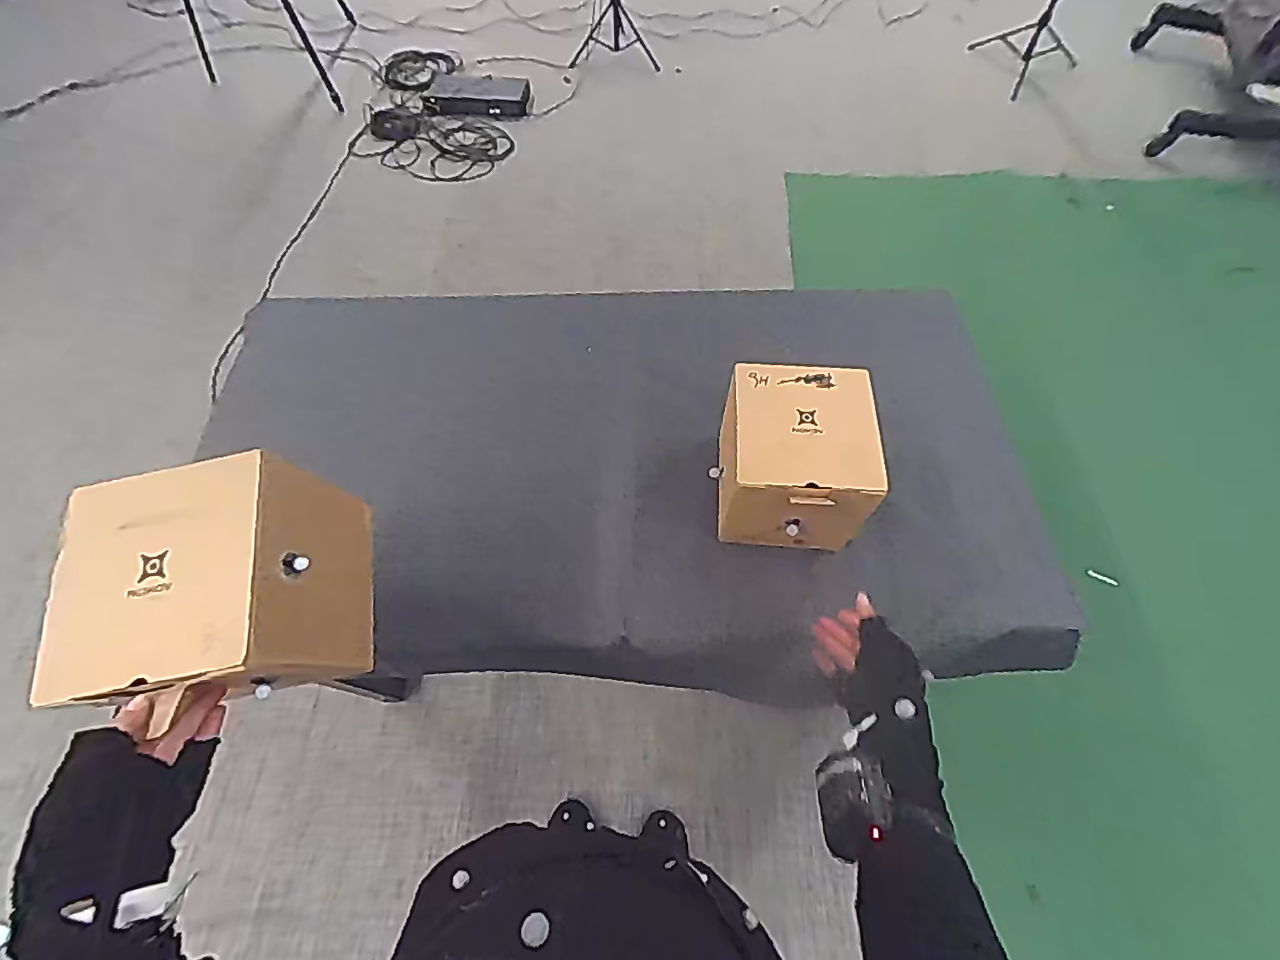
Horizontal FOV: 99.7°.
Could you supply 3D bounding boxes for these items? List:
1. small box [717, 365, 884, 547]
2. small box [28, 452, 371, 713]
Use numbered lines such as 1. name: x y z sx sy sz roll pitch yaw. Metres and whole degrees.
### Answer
1. small box: 0.193 -0.024 0.698 0.168 0.176 0.179 4 62 2
2. small box: -0.364 0.098 0.487 0.168 0.176 0.179 -12 69 1
